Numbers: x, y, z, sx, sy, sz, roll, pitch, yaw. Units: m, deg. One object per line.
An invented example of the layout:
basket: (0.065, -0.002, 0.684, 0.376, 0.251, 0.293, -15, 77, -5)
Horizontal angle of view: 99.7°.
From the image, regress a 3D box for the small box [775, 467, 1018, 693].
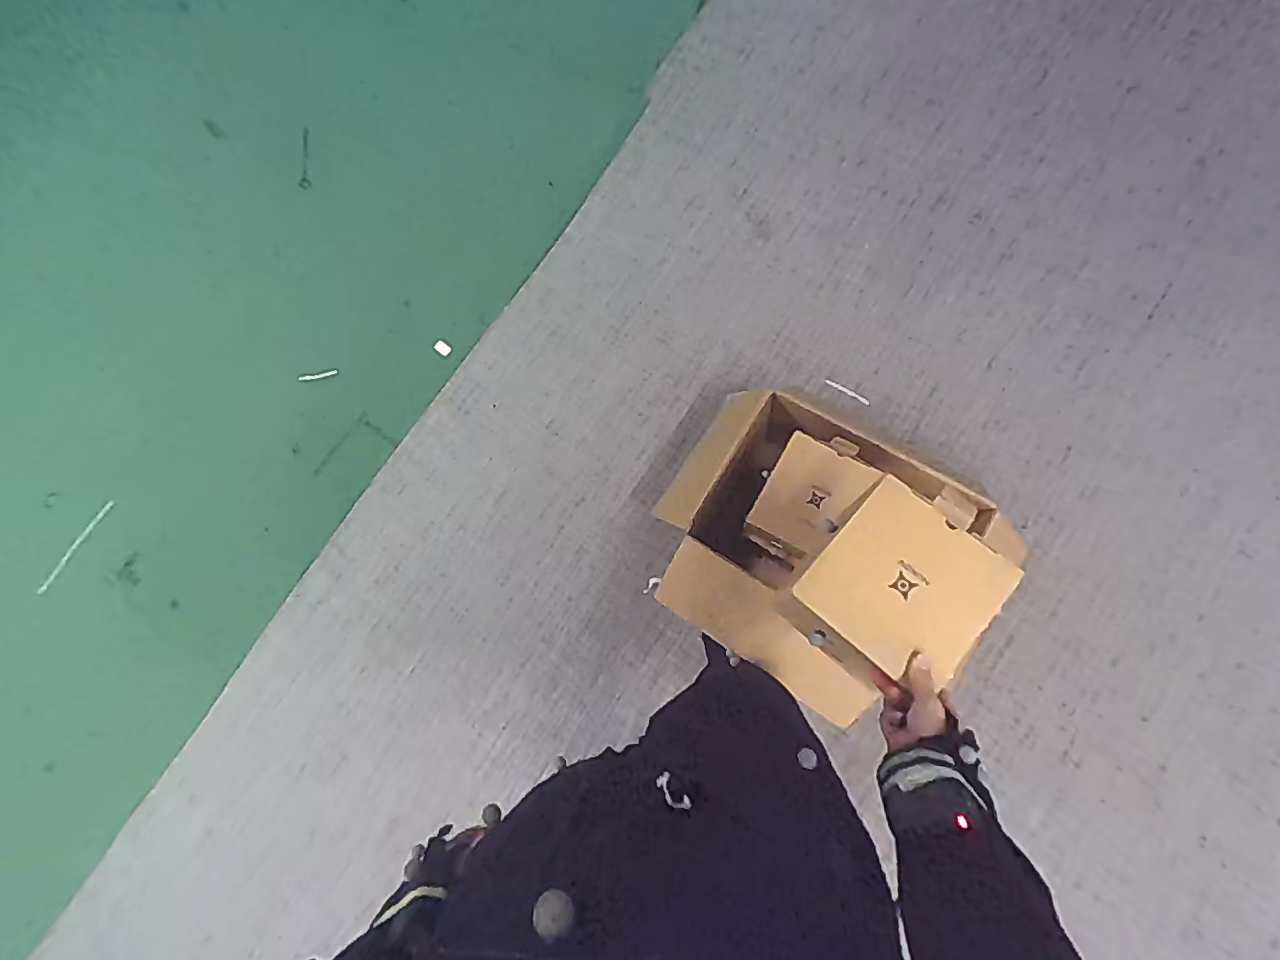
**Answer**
small box: (0.275, 0.122, 0.628, 0.168, 0.176, 0.179, 40, 78, 17)

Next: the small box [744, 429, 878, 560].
small box: (0.291, 0.040, 0.945, 0.168, 0.176, 0.179, 29, 86, 13)
